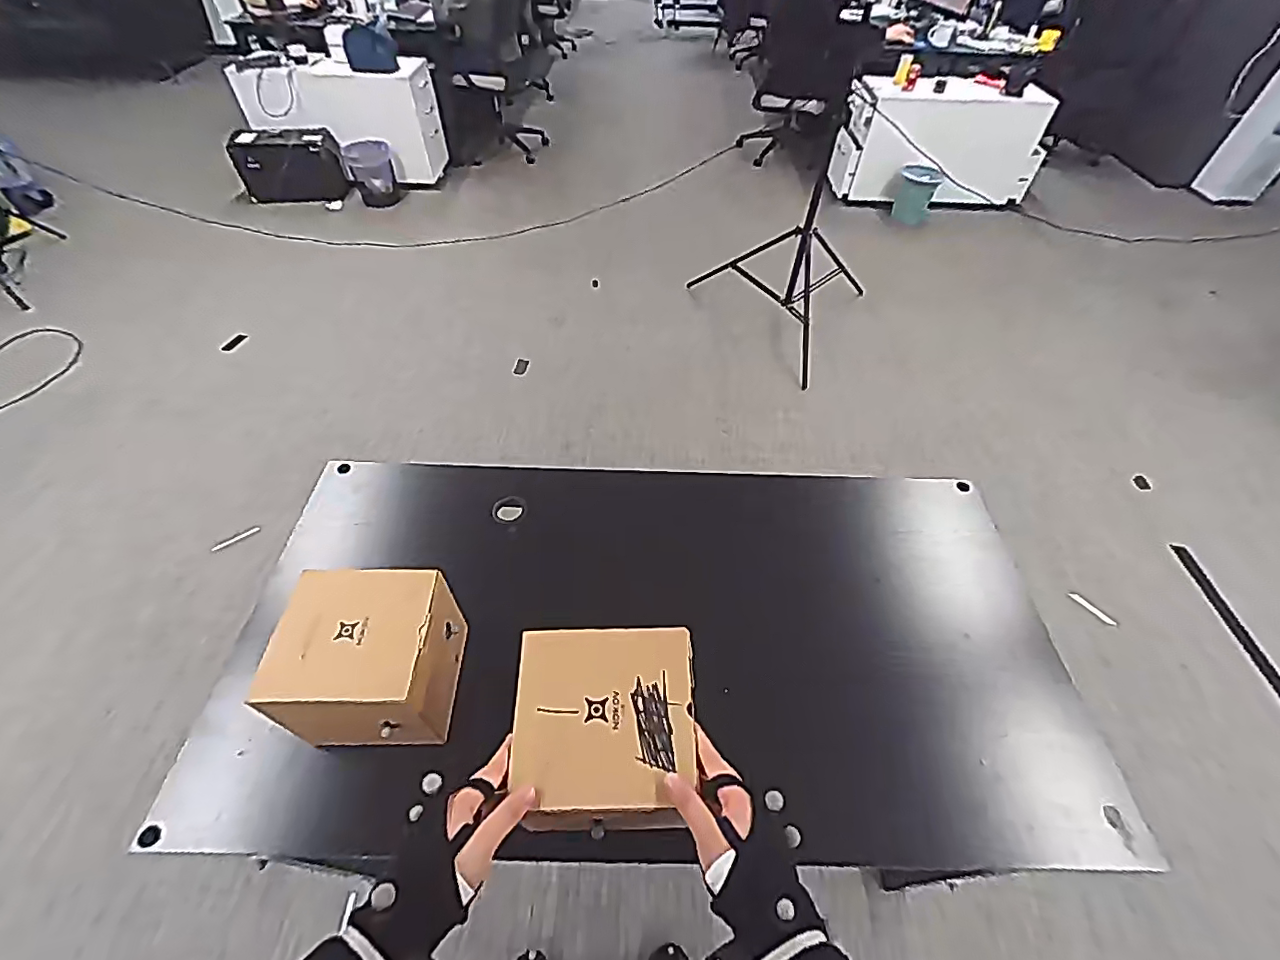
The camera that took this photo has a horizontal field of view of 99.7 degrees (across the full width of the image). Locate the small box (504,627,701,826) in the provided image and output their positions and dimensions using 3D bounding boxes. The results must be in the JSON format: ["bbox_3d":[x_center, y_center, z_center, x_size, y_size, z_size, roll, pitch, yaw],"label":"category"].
[{"bbox_3d":[-0.035,0.269,0.586,0.179,0.176,0.168,-1,53,-1],"label":"small box"}]

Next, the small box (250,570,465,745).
[{"bbox_3d":[-0.337,0.230,0.695,0.179,0.176,0.168,-1,49,-2],"label":"small box"}]
